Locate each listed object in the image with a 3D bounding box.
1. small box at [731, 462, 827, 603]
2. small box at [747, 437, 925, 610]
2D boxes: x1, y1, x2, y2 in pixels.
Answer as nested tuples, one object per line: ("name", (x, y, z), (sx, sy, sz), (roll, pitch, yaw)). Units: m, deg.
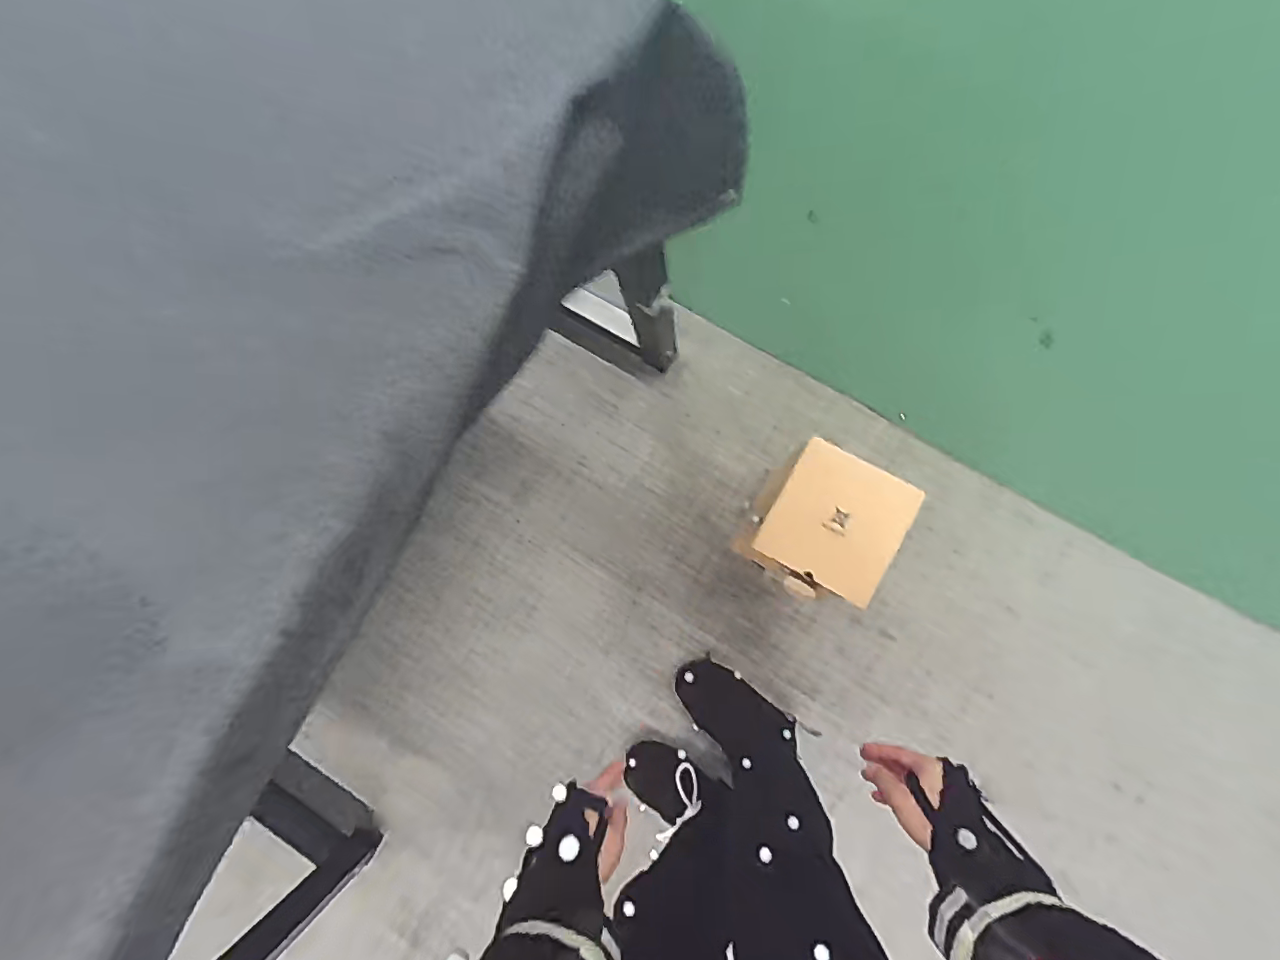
("small box", (0.273, 0.091, 0.951), (0.168, 0.176, 0.179), (30, 89, 8))
("small box", (0.268, 0.061, 0.788), (0.168, 0.176, 0.179), (28, 89, 7))
